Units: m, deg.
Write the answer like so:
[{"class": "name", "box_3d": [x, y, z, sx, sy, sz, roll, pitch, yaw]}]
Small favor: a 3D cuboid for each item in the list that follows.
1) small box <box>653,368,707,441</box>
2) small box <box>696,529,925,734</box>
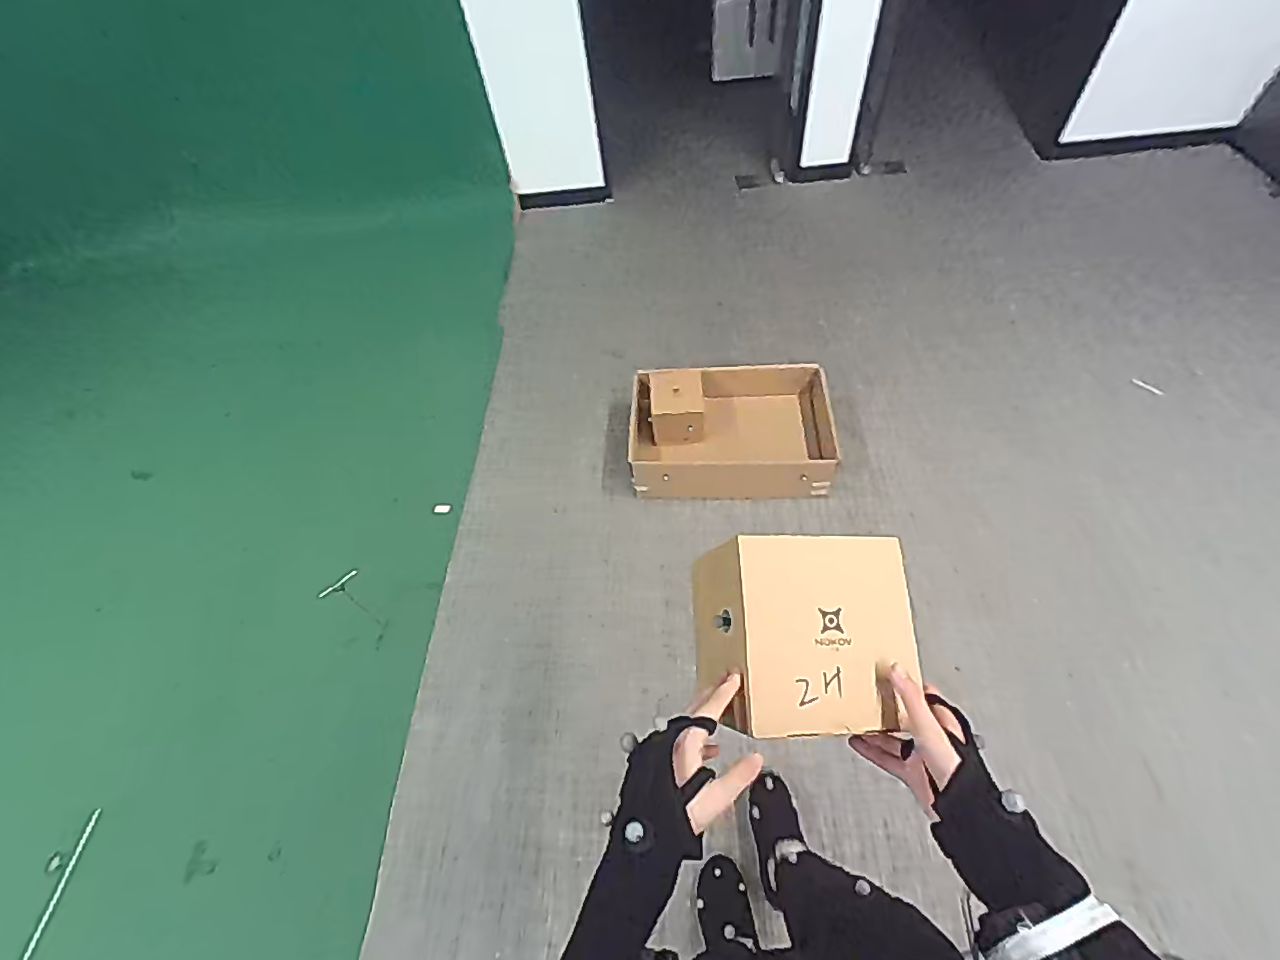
[{"class": "small box", "box_3d": [0.131, -0.240, 1.770, 0.168, 0.176, 0.179, -4, 57, 5]}, {"class": "small box", "box_3d": [0.157, 0.153, 0.559, 0.168, 0.176, 0.179, 1, 75, -8]}]
